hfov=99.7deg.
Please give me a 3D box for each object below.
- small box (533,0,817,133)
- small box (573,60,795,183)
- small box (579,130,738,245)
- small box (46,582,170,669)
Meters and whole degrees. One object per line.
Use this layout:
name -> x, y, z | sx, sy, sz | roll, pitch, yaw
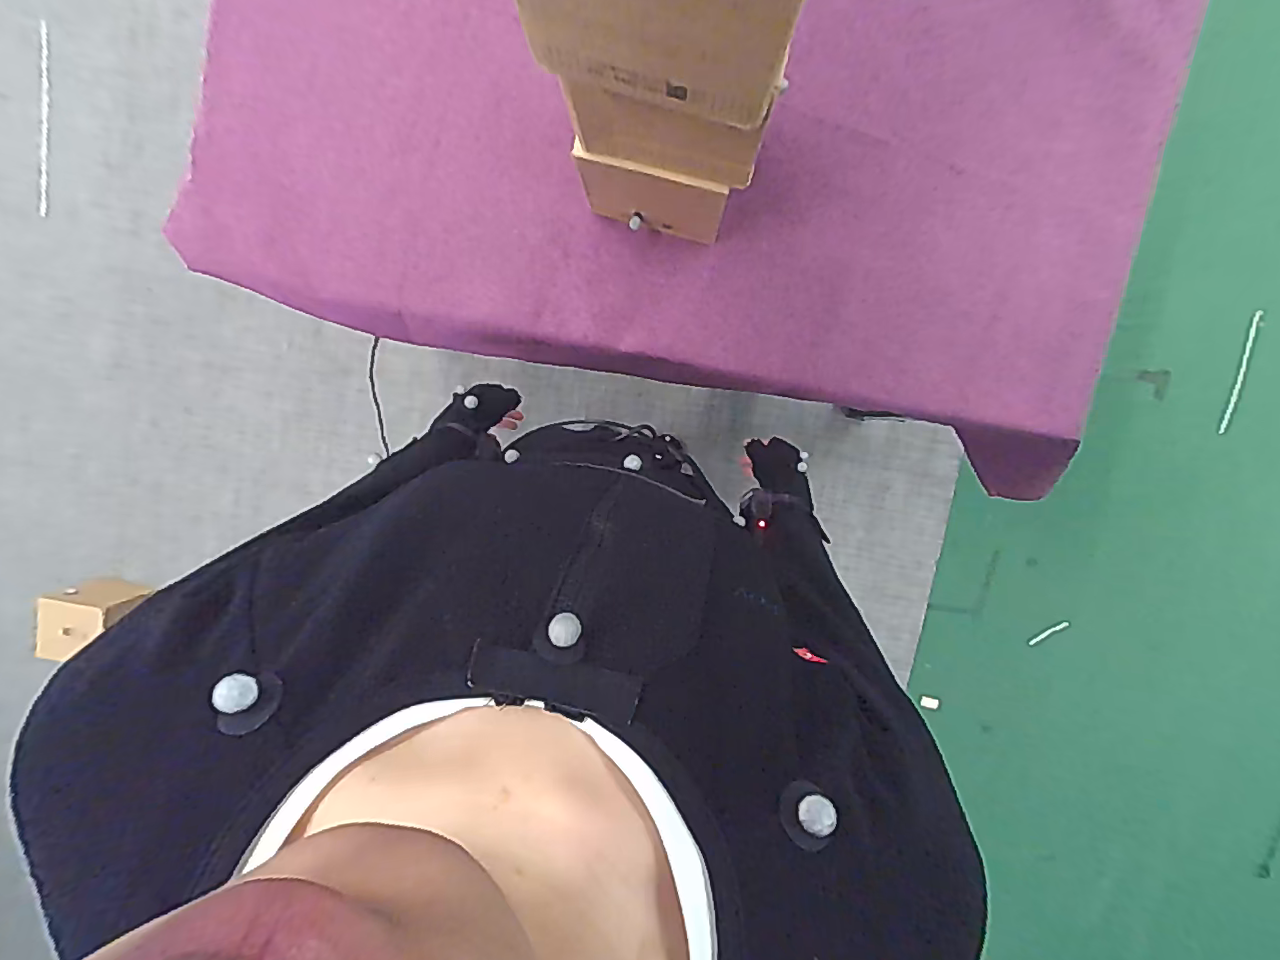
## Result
small box -> 0.031, -0.336, 0.290 | 0.168, 0.176, 0.179 | 16, 96, 1
small box -> 0.041, -0.378, 0.450 | 0.179, 0.176, 0.168 | 13, 97, 1
small box -> 0.040, -0.396, 0.610 | 0.168, 0.176, 0.179 | 15, 98, 1
small box -> -1.454, 0.391, 1.485 | 0.179, 0.176, 0.168 | 9, 98, 0
